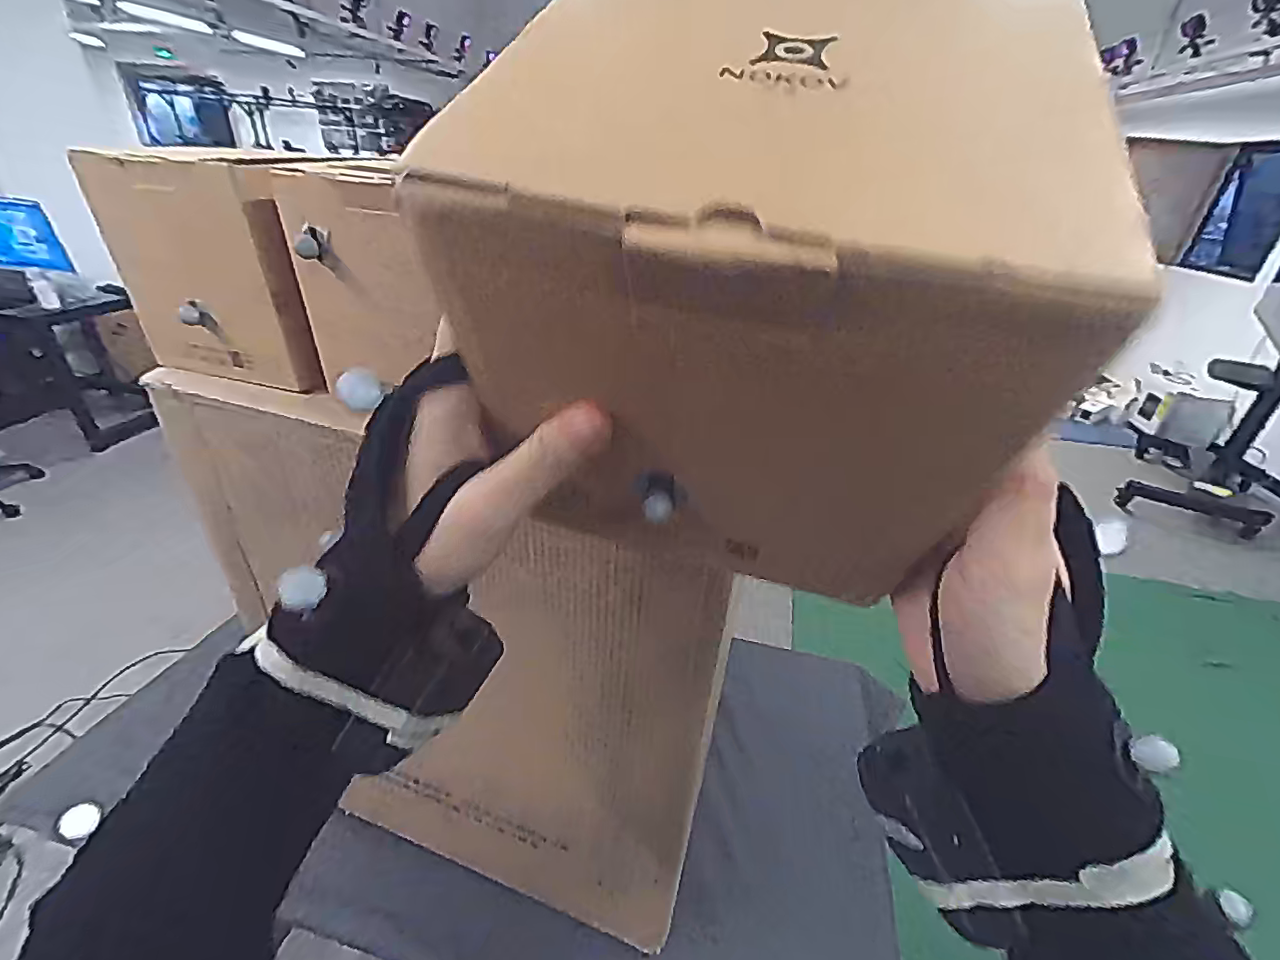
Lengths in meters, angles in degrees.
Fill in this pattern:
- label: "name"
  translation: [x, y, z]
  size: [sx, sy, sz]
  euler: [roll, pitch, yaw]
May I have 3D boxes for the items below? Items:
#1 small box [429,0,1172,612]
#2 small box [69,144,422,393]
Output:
- label: "small box"
  translation: [0.050, -0.070, 0.227]
  size: [0.168, 0.176, 0.179]
  euler: [14, 60, 10]
- label: "small box"
  translation: [-0.320, -0.195, 0.485]
  size: [0.168, 0.176, 0.179]
  euler: [12, 33, 14]
